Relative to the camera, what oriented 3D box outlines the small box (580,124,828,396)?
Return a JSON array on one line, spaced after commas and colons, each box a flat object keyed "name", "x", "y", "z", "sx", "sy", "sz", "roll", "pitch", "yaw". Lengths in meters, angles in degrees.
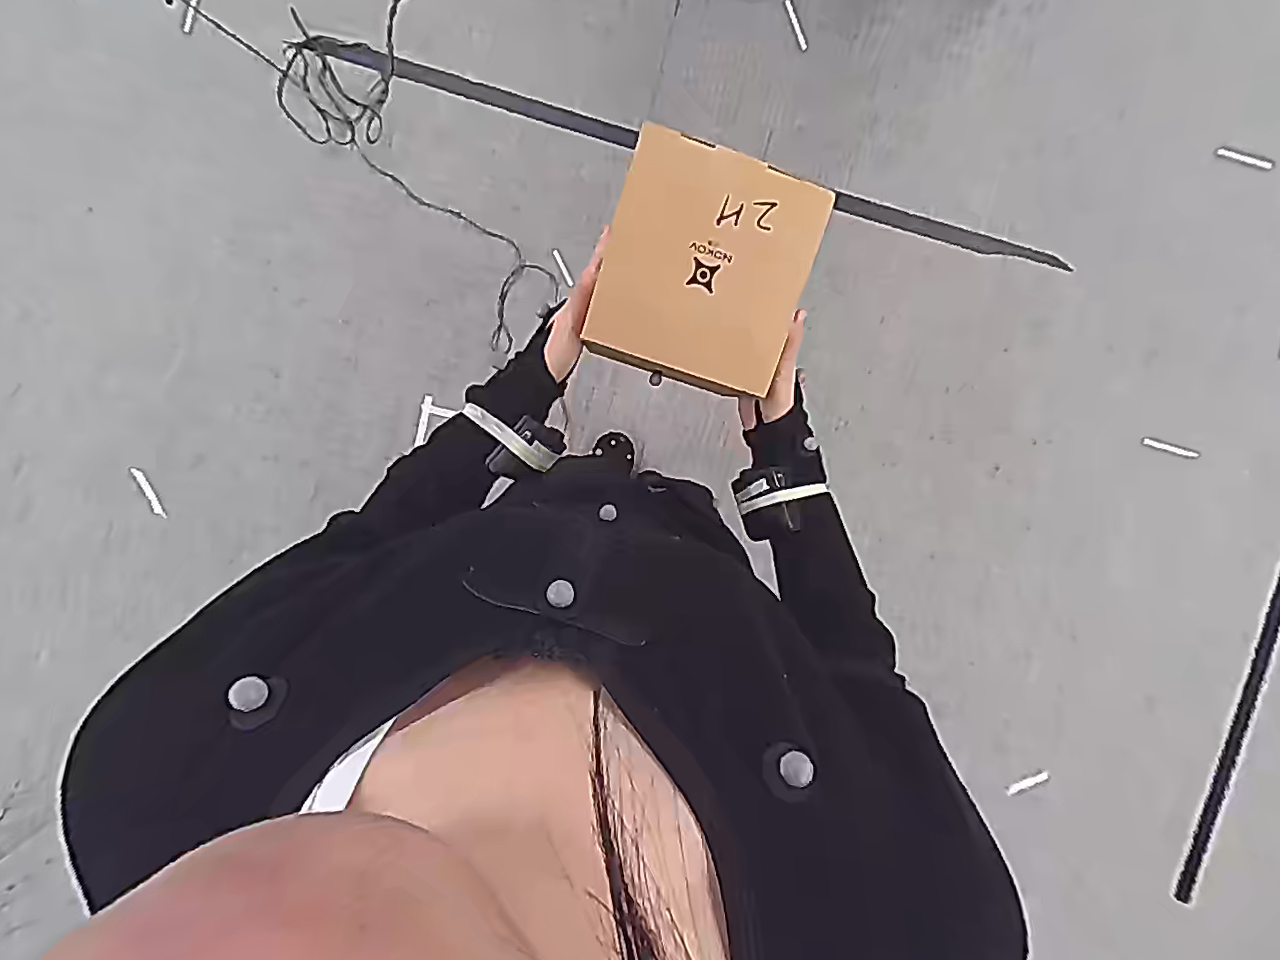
[{"name": "small box", "x": 0.048, "y": -0.189, "z": 0.524, "sx": 0.168, "sy": 0.176, "sz": 0.179, "roll": 17, "pitch": 97, "yaw": -7}]
